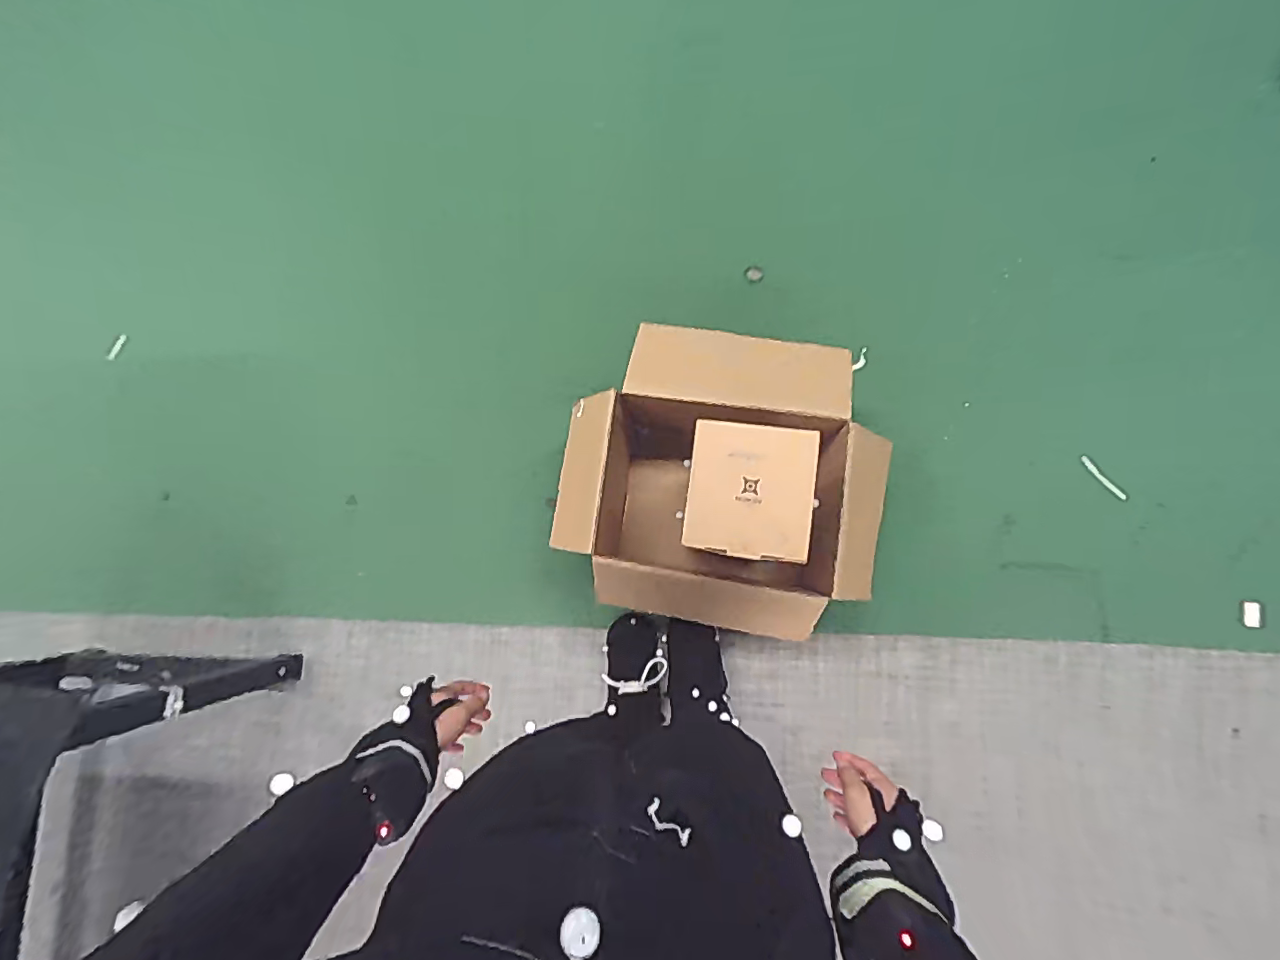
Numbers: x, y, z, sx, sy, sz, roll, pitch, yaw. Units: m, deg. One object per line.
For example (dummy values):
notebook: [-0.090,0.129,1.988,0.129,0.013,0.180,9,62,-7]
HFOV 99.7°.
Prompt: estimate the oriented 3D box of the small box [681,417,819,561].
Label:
small box: [0.153,0.020,0.789,0.168,0.176,0.179,6,83,6]
